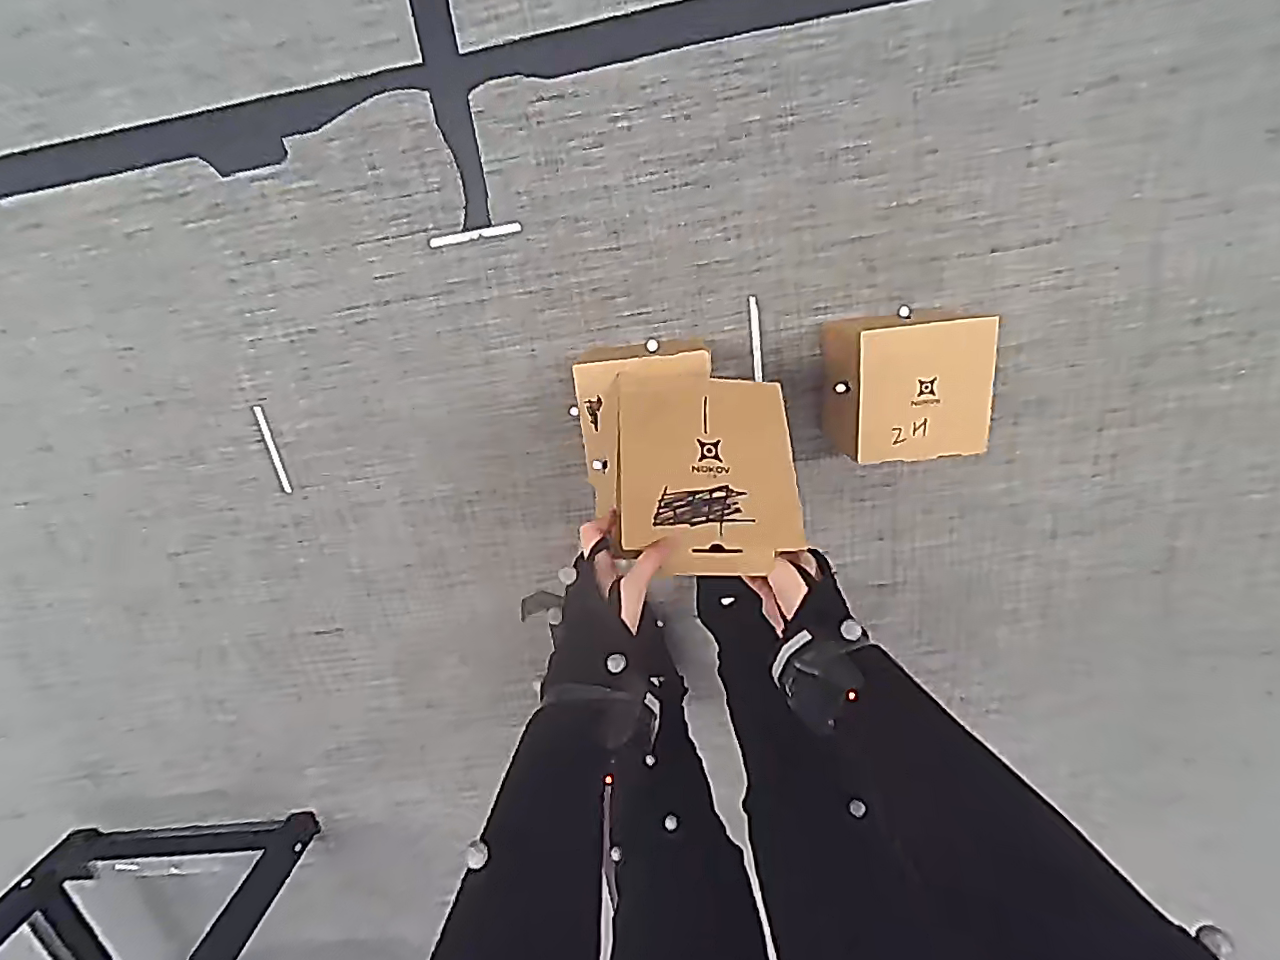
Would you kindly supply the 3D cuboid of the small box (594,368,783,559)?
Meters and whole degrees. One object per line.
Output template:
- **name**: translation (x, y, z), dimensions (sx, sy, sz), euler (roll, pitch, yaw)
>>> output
- **small box**: translation (0.042, -0.007, 0.582), dimensions (0.168, 0.176, 0.179), euler (2, 82, -10)

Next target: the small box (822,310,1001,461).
- **small box**: translation (0.357, -0.139, 0.746), dimensions (0.168, 0.176, 0.179), euler (-5, 110, 4)

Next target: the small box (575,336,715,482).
- **small box**: translation (0.011, -0.108, 0.766), dimensions (0.179, 0.176, 0.168), euler (-5, 110, 2)
